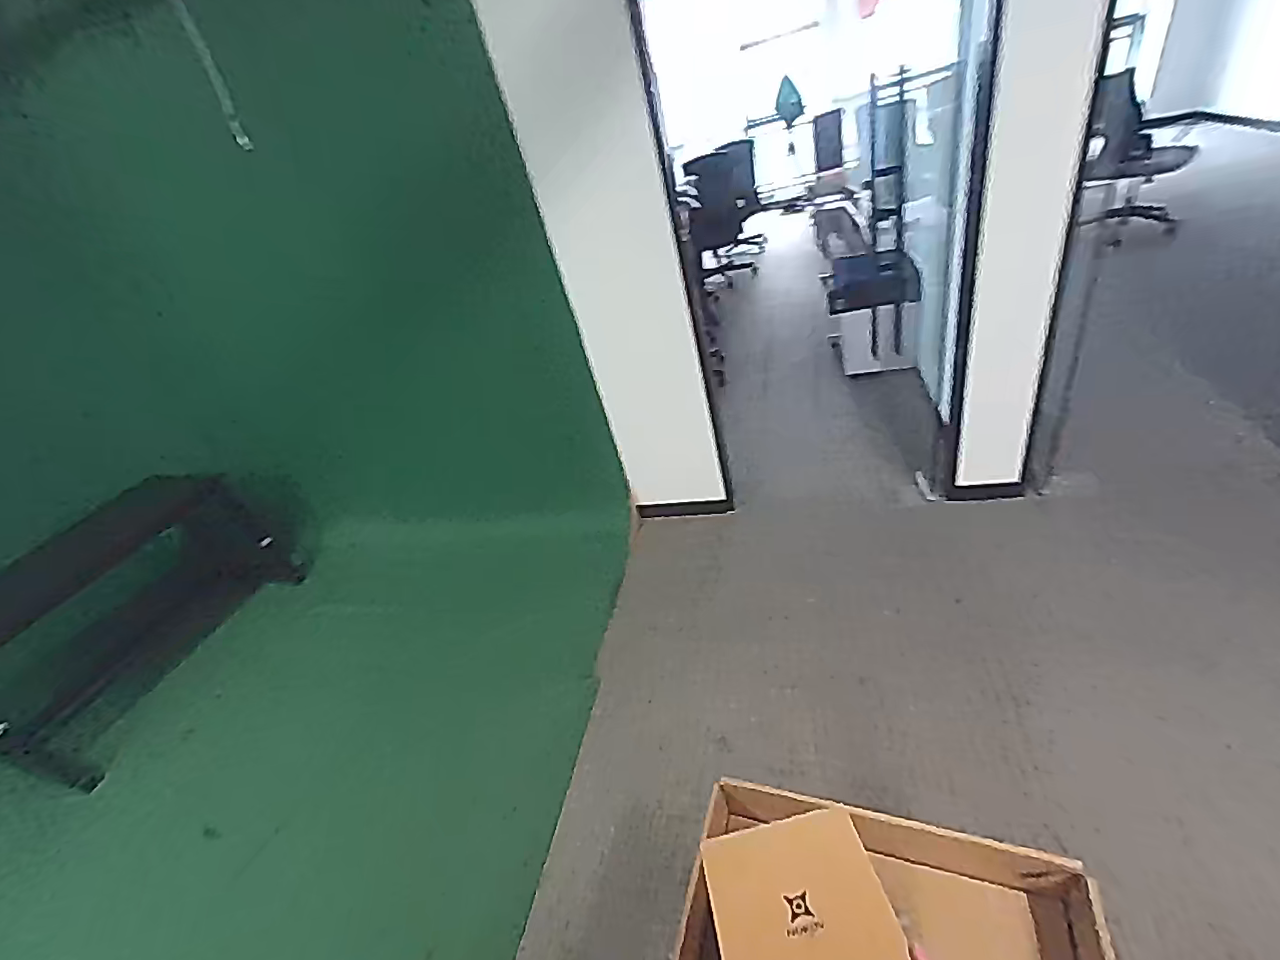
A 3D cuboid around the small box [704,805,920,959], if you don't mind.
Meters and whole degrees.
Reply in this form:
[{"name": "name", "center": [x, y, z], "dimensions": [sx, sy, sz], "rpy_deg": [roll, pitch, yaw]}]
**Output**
[{"name": "small box", "center": [0.171, 0.475, 0.540], "dimensions": [0.168, 0.176, 0.179], "rpy_deg": [-15, 25, 0]}]
